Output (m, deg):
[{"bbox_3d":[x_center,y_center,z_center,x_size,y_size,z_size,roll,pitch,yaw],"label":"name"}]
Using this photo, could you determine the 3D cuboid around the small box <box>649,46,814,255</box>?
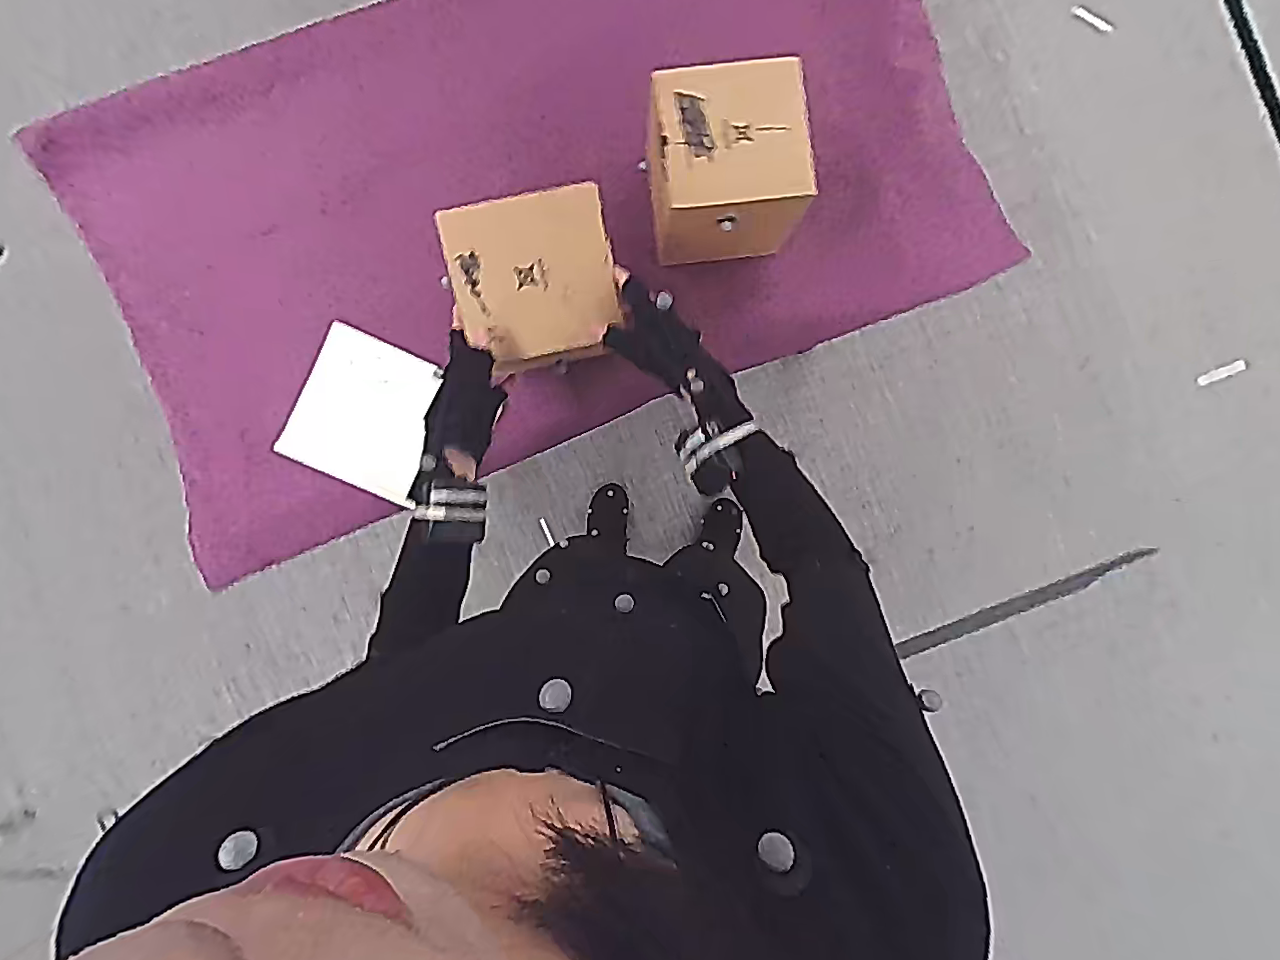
[{"bbox_3d":[0.105,-0.410,0.702,0.179,0.176,0.168,-7,89,-2],"label":"small box"}]

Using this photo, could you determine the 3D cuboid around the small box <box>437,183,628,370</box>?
[{"bbox_3d":[-0.120,-0.230,0.649,0.179,0.176,0.168,-11,99,-5],"label":"small box"}]
